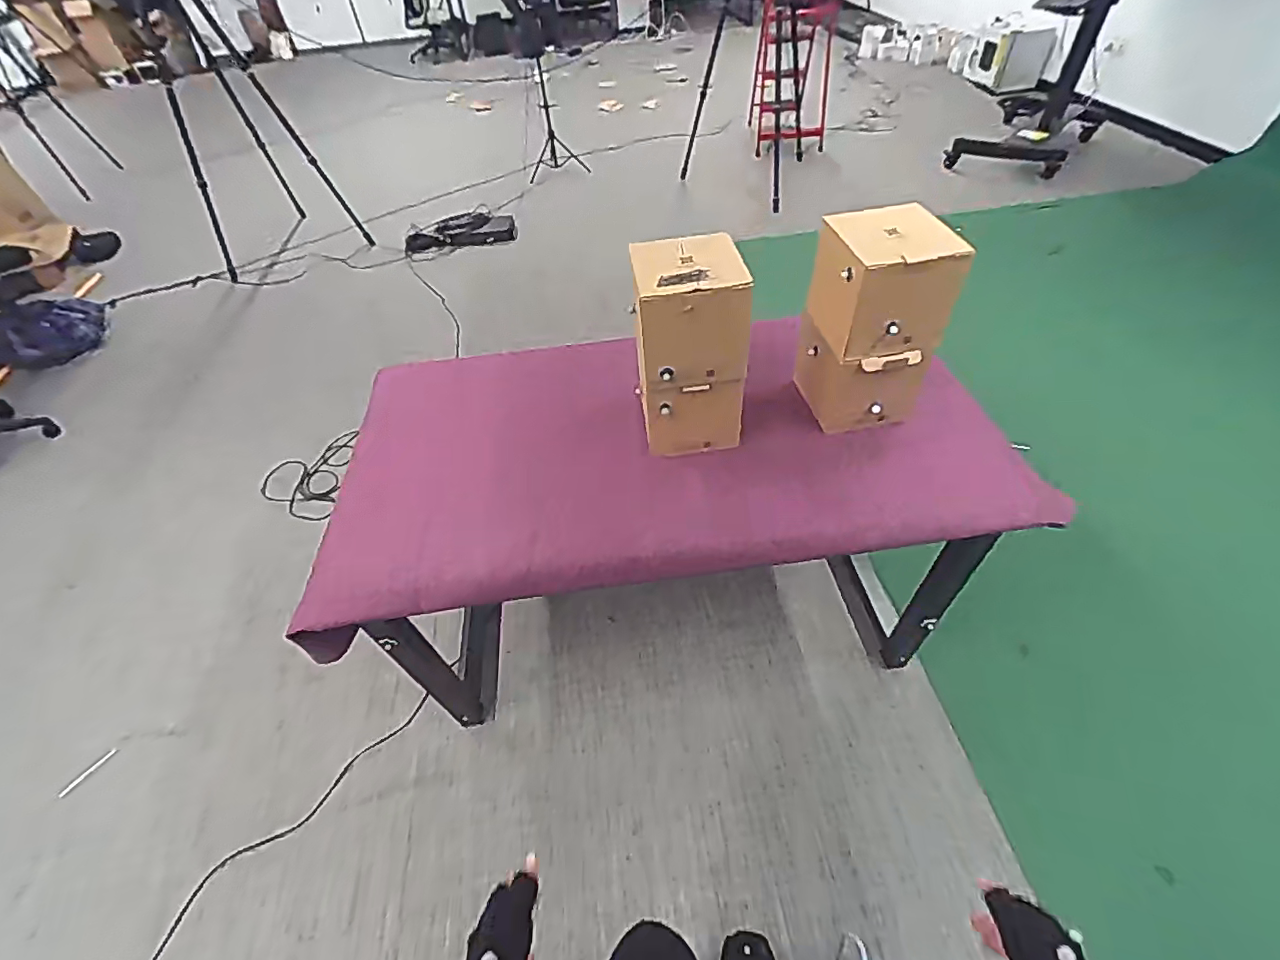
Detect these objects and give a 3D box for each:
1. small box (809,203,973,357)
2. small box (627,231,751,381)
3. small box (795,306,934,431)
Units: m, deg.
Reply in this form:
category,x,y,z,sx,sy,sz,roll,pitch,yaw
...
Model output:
category,x,y,z,sx,sy,sz,roll,pitch,yaw
small box,0.394,-0.328,0.891,0.168,0.176,0.179,-10,50,-3
small box,0.075,-0.274,0.872,0.168,0.176,0.179,-8,48,-2
small box,0.404,-0.218,1.011,0.168,0.176,0.179,-11,49,-3
